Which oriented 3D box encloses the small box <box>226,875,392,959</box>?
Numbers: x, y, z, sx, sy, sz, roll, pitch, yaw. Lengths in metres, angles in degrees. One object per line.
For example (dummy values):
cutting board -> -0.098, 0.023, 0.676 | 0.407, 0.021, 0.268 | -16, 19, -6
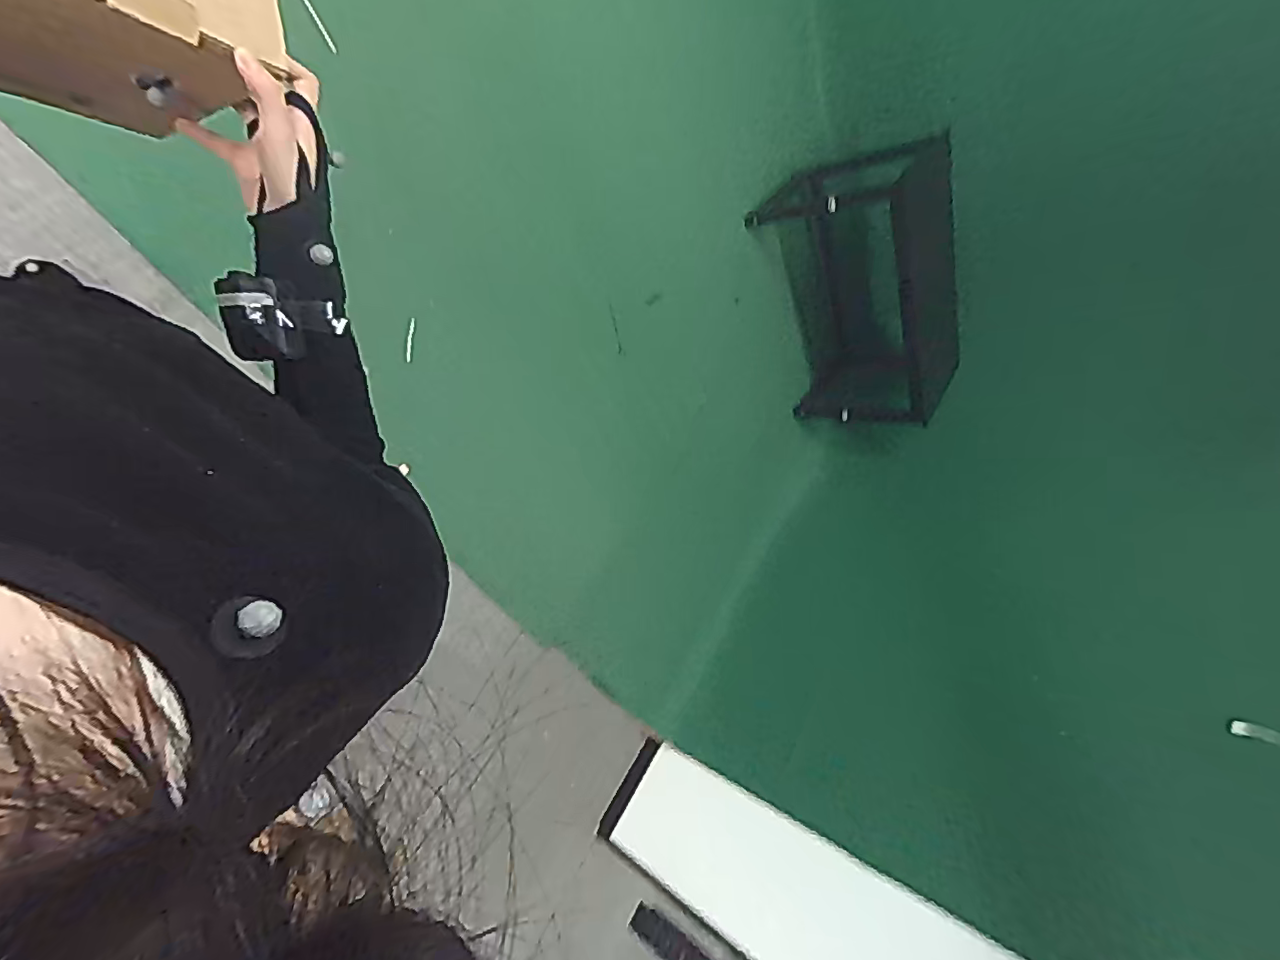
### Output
small box -> -0.564, 0.813, 0.903 | 0.179, 0.176, 0.168 | -58, 134, -23
